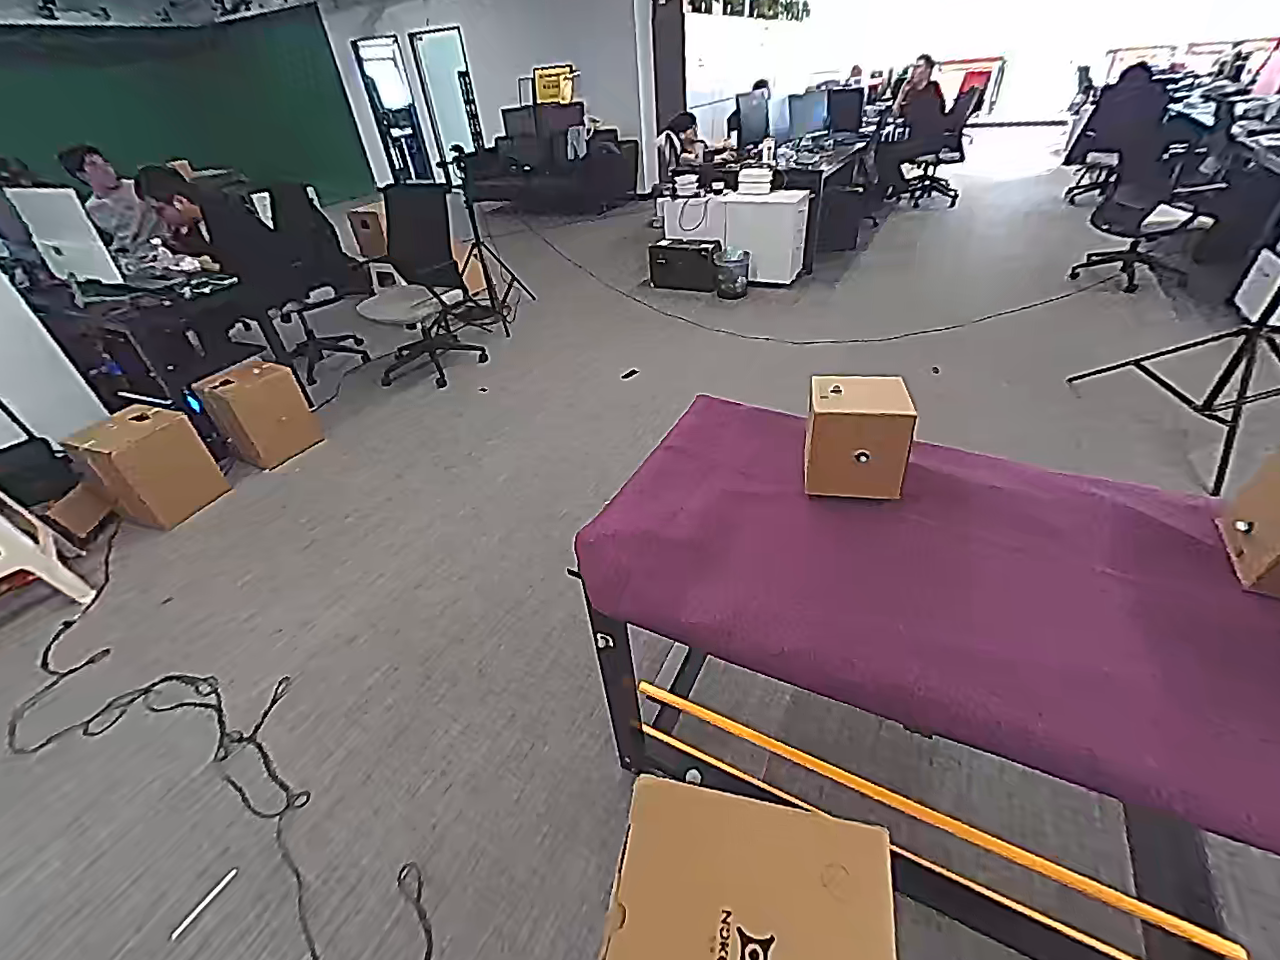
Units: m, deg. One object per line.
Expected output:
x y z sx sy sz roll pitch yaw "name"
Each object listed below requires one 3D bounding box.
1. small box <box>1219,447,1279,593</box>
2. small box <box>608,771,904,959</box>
0.997 0.068 0.766 0.179 0.176 0.168 15 42 24 "small box"
0.078 0.332 0.392 0.179 0.176 0.168 5 52 12 "small box"
